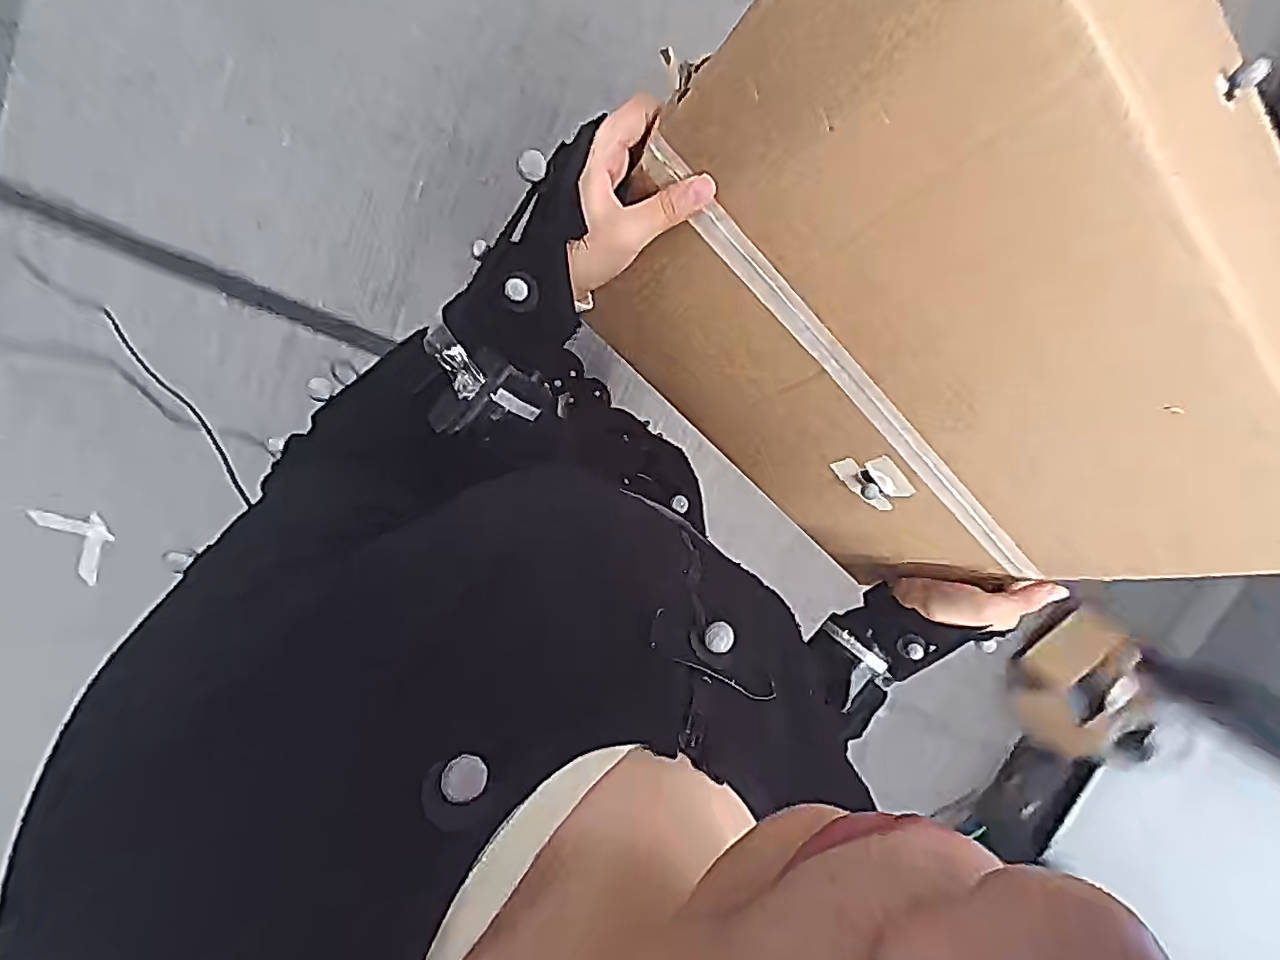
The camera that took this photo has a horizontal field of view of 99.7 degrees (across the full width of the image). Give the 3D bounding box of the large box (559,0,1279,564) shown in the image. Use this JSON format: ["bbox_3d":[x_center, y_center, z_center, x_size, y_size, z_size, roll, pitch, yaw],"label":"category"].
[{"bbox_3d":[0.224,-0.185,0.392,0.408,0.320,0.320,38,63,-17],"label":"large box"}]
